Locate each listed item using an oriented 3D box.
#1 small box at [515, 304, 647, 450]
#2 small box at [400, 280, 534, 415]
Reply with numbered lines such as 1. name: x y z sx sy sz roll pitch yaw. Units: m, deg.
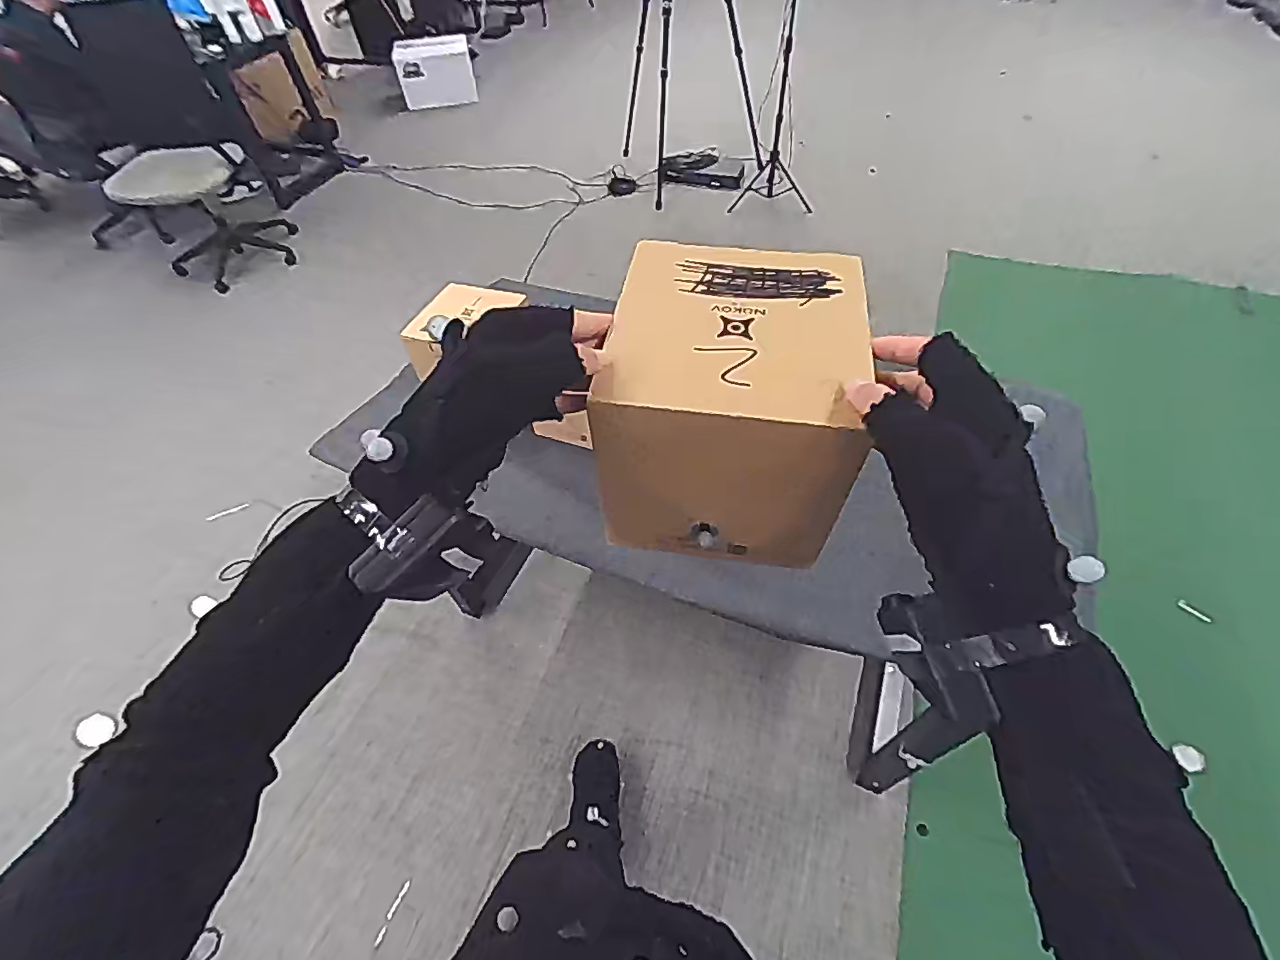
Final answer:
1. small box: -0.091 -0.179 0.956 0.168 0.176 0.179 16 54 16
2. small box: -0.307 -0.248 1.022 0.168 0.176 0.179 14 53 14
